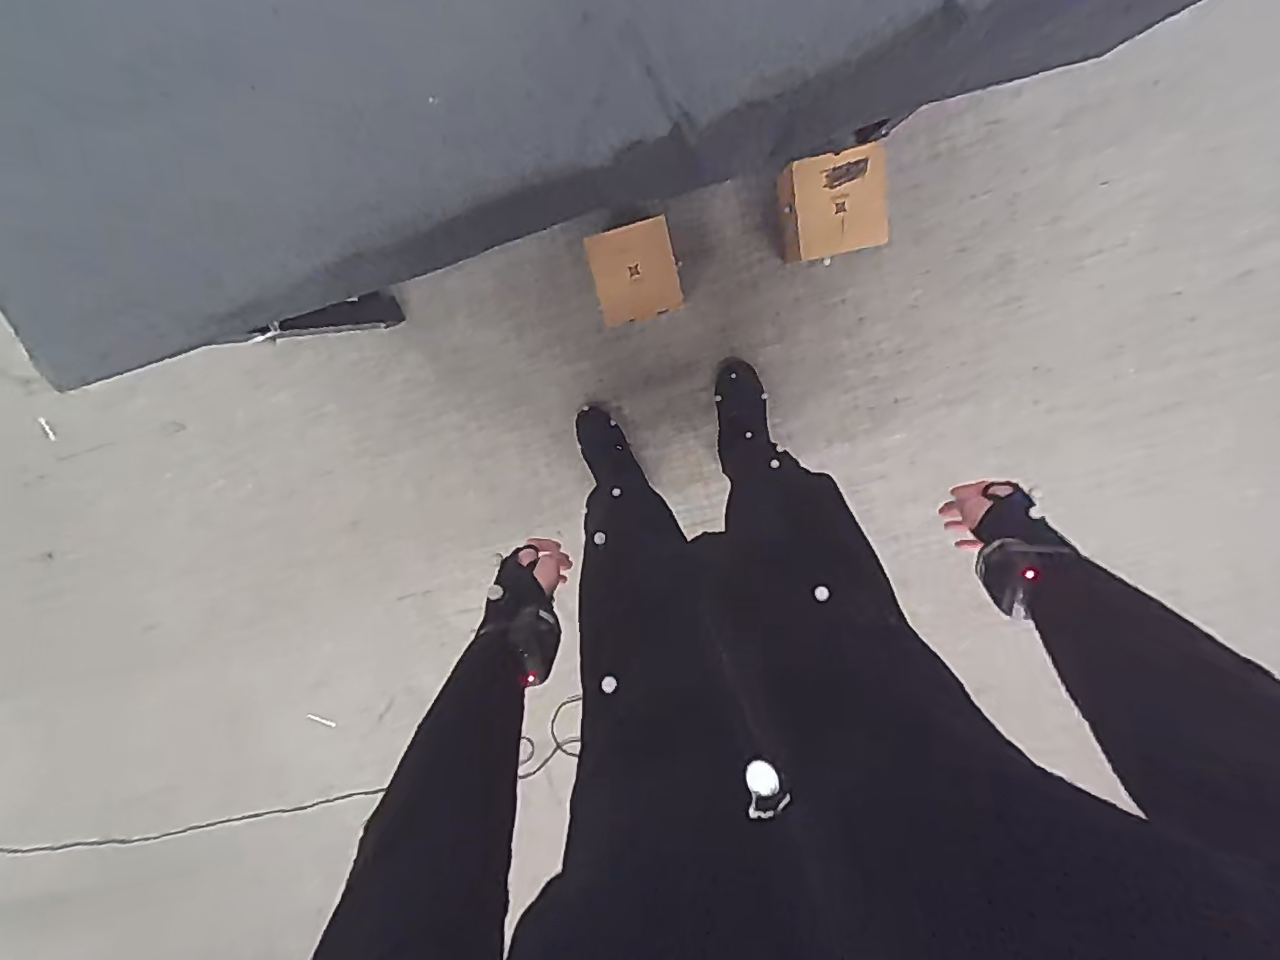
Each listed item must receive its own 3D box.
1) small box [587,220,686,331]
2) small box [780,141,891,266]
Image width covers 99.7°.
[{"bbox_3d":[0.001,-0.428,1.152,0.168,0.176,0.179,-14,104,9],"label":"small box"},{"bbox_3d":[0.381,-0.536,1.074,0.168,0.176,0.179,-10,108,9],"label":"small box"}]
